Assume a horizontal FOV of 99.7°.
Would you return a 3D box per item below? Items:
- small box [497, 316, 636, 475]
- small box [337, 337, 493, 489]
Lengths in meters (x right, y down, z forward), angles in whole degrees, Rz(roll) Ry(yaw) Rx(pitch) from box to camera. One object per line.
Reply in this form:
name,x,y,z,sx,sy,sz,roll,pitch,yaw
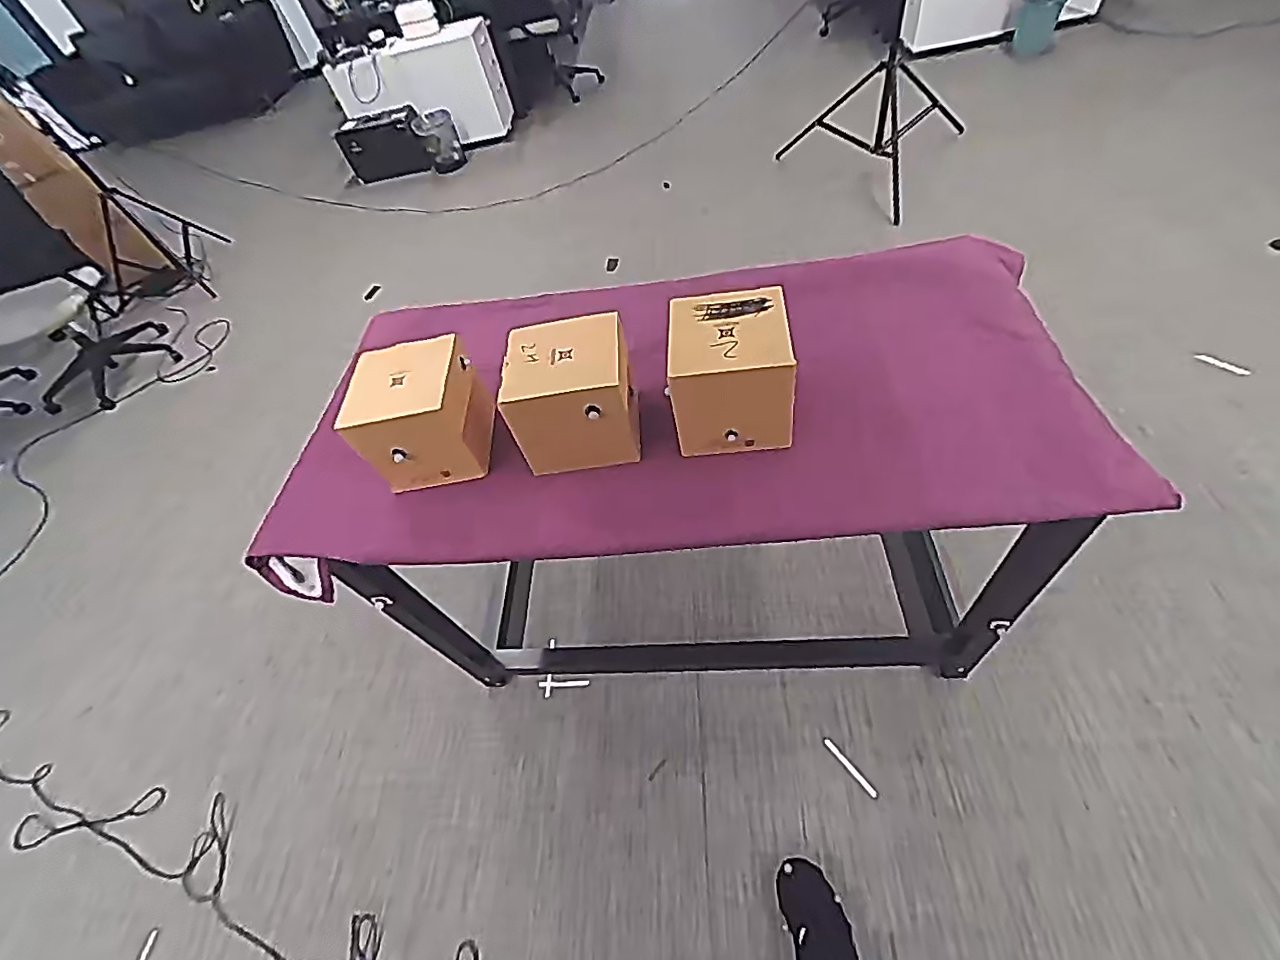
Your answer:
small box,-0.103,-0.128,0.849,0.179,0.176,0.168,-8,51,6
small box,-0.354,-0.101,0.890,0.168,0.176,0.179,-10,51,5
